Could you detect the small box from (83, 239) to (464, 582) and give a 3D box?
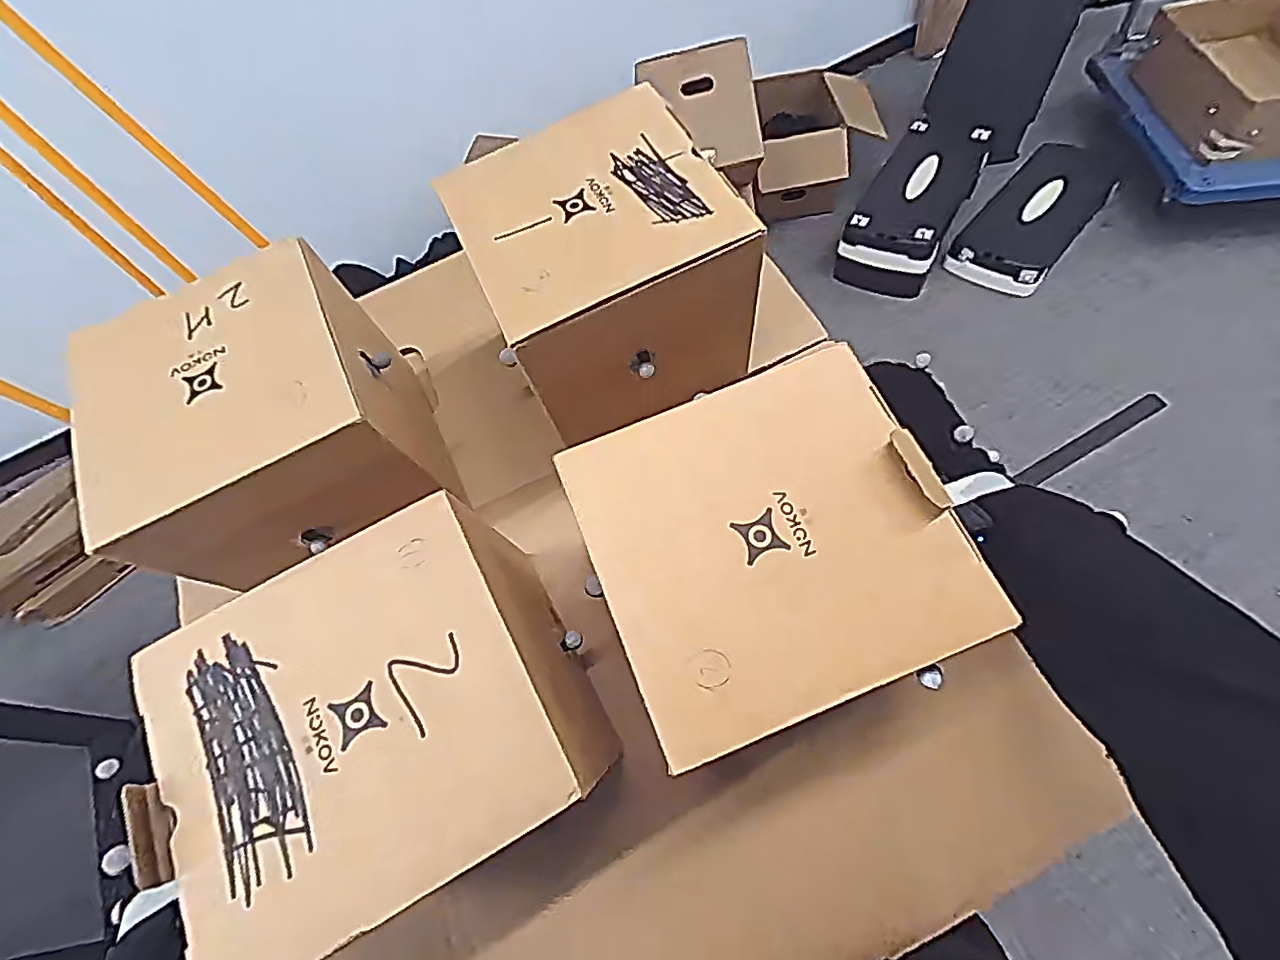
[{"bbox_3d":[-0.261,-0.036,0.417,0.168,0.176,0.179,-27,66,-5],"label":"small box"}]
